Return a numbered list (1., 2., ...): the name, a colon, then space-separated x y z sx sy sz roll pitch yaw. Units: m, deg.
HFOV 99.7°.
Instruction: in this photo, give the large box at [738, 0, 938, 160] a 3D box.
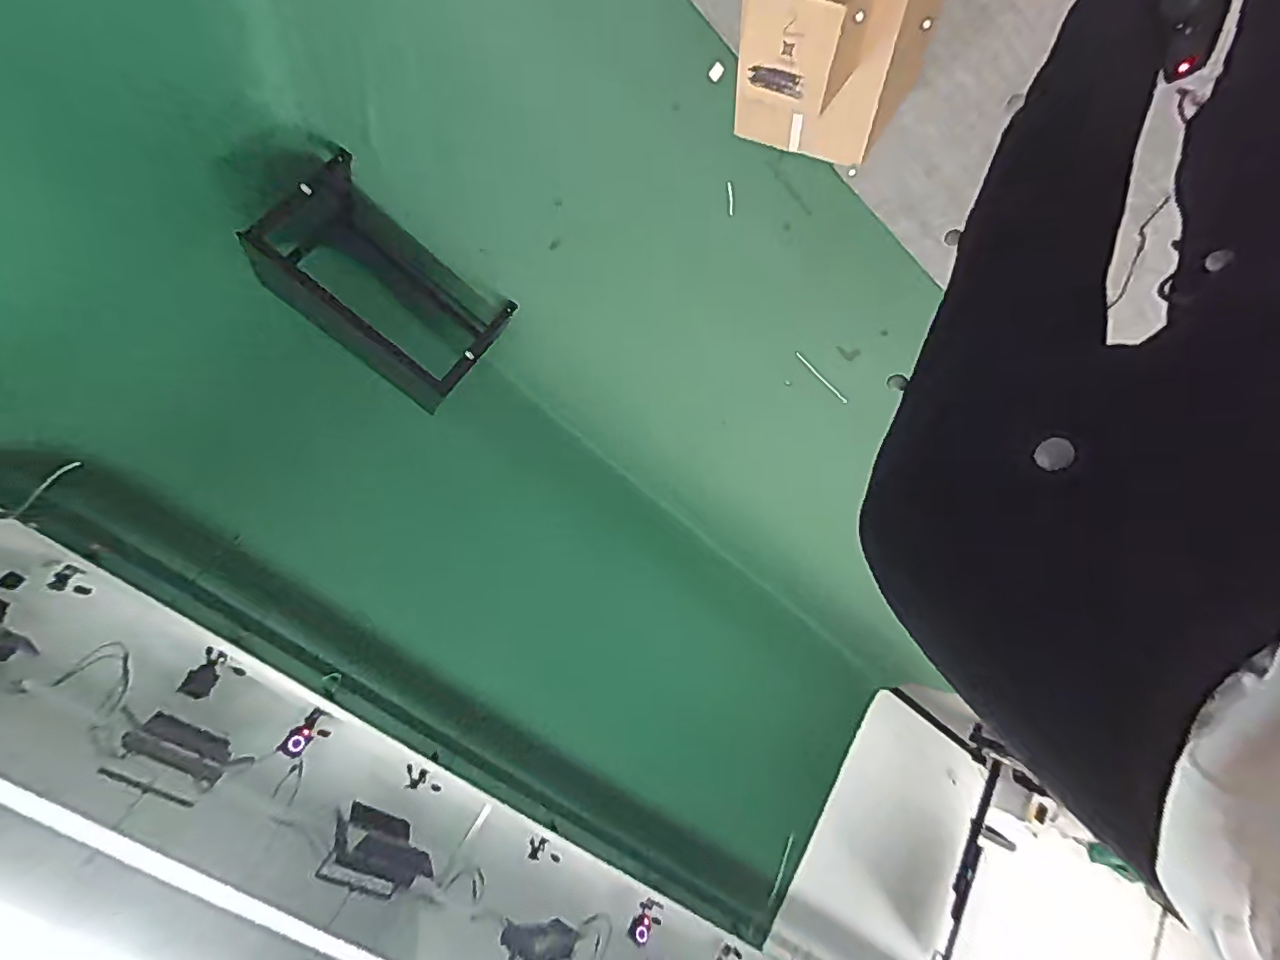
1. large box: 0.412 -0.965 1.093 0.320 0.320 0.408 29 162 18
